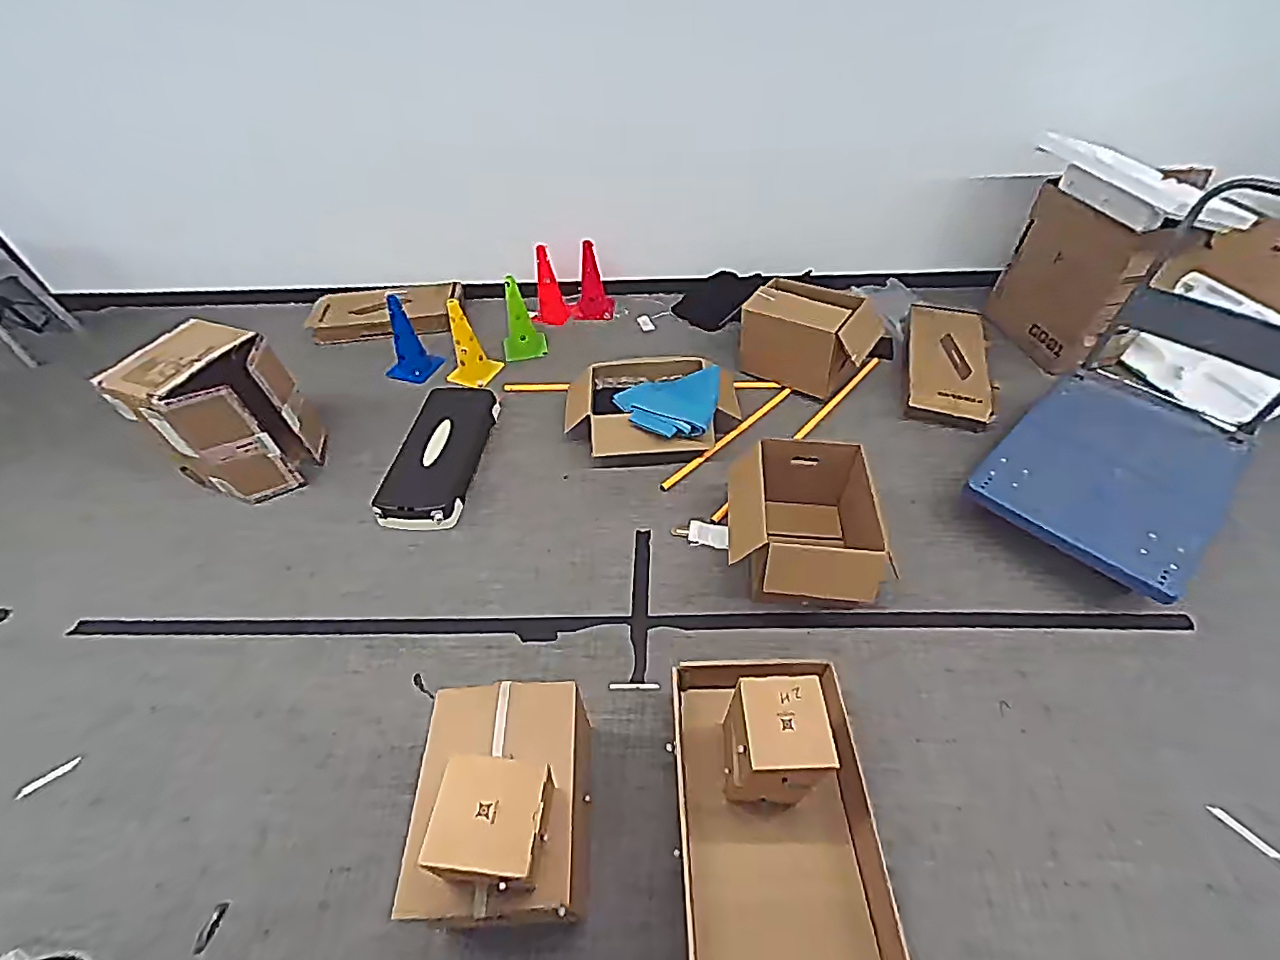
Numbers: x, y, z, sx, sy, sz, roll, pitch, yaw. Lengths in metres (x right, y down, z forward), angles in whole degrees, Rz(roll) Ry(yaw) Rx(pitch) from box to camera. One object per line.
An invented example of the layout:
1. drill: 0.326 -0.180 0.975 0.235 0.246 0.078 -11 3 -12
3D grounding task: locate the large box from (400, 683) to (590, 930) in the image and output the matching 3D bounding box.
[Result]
1. large box: -0.274 0.704 1.176 0.320 0.320 0.408 -4 49 0

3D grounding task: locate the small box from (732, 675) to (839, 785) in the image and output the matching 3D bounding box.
1. small box: 0.290 0.521 1.118 0.168 0.176 0.179 -1 50 -1
